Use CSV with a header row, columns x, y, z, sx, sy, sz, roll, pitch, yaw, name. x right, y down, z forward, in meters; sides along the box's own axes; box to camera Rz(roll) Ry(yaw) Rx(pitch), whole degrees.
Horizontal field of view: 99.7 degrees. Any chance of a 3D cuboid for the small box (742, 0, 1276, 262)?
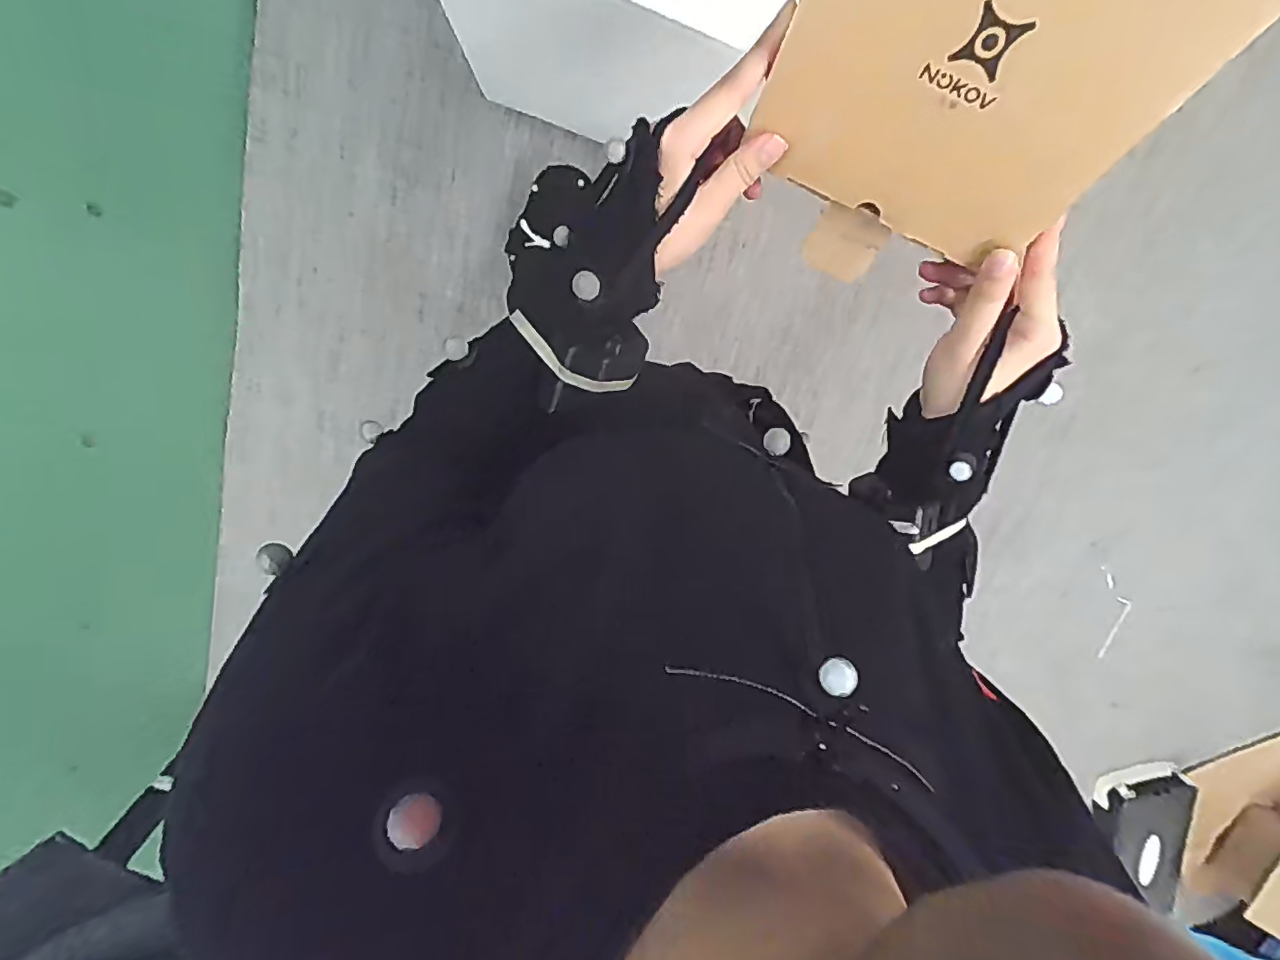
x,y,z,sx,sy,sz,roll,pitch,yaw,name
0.174,-0.257,0.266,0.168,0.179,0.176,24,64,-1,small box
